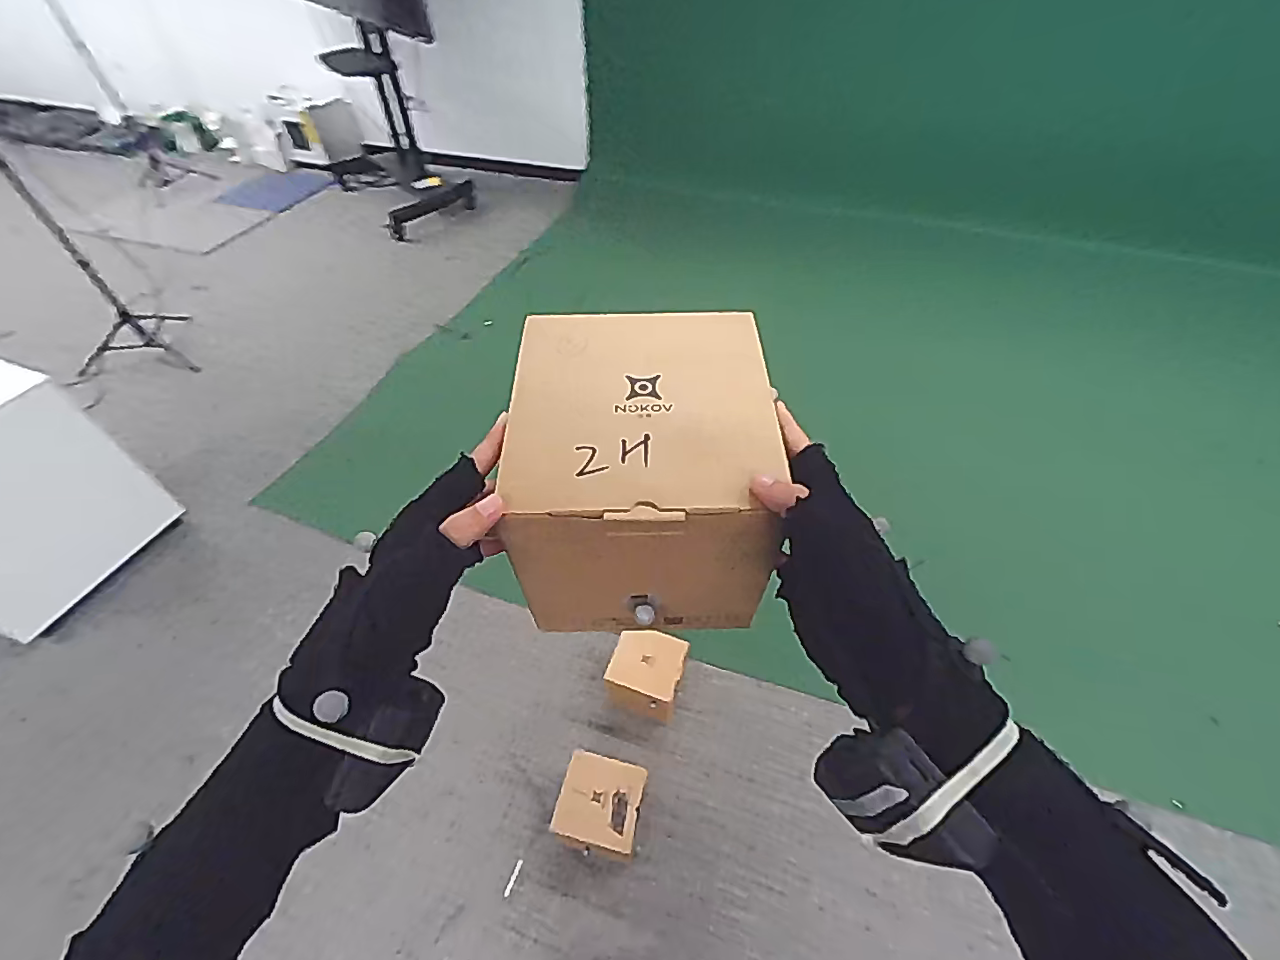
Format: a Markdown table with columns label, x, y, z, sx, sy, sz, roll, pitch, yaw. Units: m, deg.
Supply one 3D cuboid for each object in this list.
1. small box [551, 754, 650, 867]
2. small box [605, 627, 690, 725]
| label | x | y | z | sx | sy | sz | roll | pitch | yaw |
| --- | --- | --- | --- | --- | --- | --- | --- | --- | --- |
| small box | -0.081 | 0.744 | 1.211 | 0.179 | 0.176 | 0.168 | 11 | 48 | 10 |
| small box | 0.021 | 0.518 | 1.419 | 0.179 | 0.176 | 0.168 | 15 | 50 | 12 |
